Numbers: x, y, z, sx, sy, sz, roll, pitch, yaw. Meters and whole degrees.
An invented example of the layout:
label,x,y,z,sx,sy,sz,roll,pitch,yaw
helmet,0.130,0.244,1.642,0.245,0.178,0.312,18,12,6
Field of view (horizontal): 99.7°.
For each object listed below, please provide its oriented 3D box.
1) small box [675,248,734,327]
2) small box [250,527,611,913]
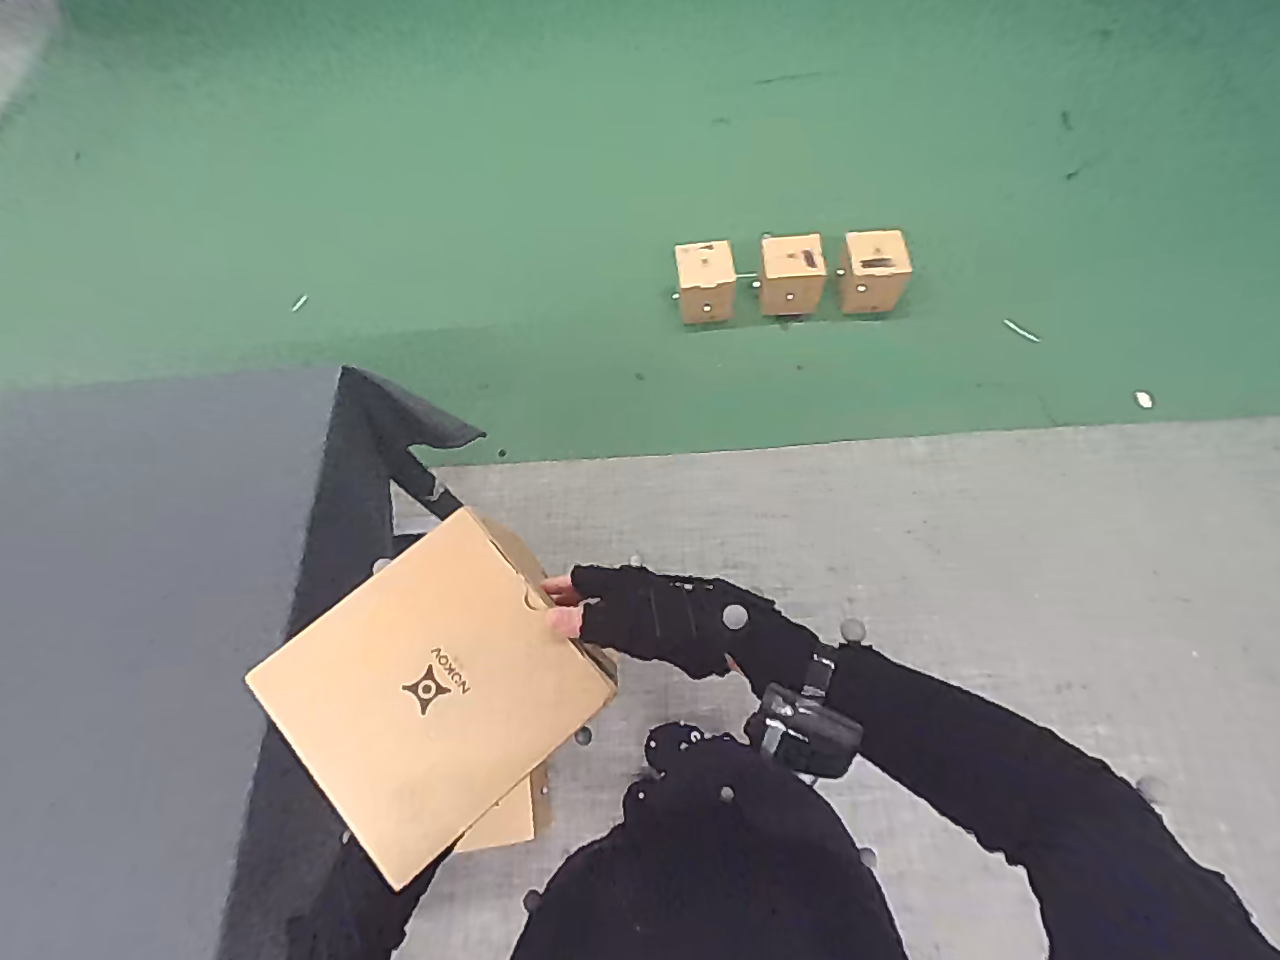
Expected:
label,x,y,z,sx,sy,sz,roll,pitch,yaw
small box,0.202,-0.603,1.720,0.168,0.176,0.179,-5,67,2
small box,-0.135,0.162,0.422,0.179,0.176,0.168,-39,82,-10
